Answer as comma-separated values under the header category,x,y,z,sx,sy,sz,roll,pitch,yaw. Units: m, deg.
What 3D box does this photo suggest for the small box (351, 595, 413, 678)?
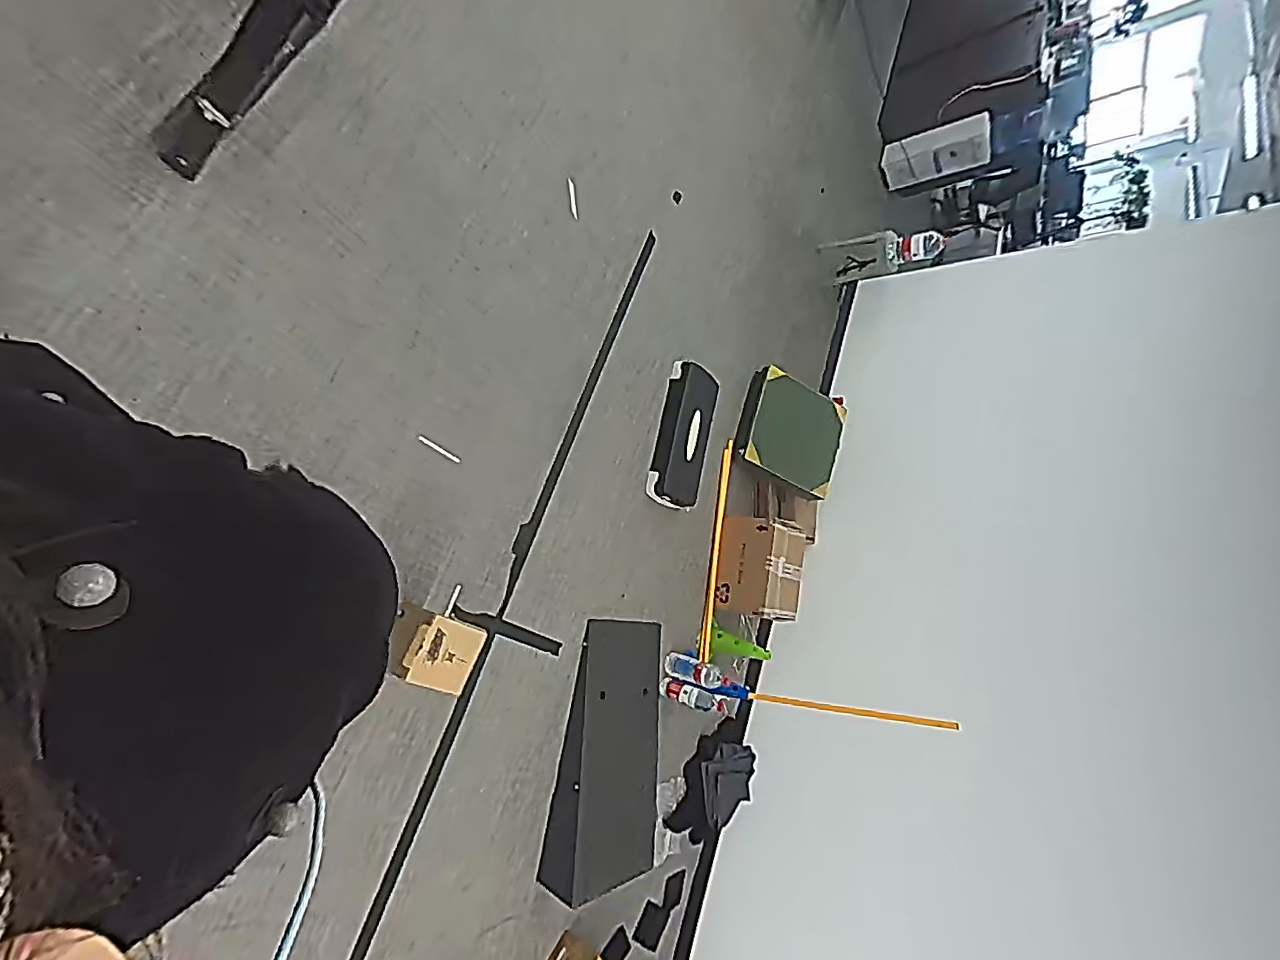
category,x,y,z,sx,sy,sz,roll,pitch,yaw
small box,-0.661,0.435,1.489,0.168,0.176,0.179,38,64,-45

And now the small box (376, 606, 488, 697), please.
category,x,y,z,sx,sy,sz,roll,pitch,yaw
small box,-0.534,0.434,1.385,0.179,0.176,0.168,42,62,-45
